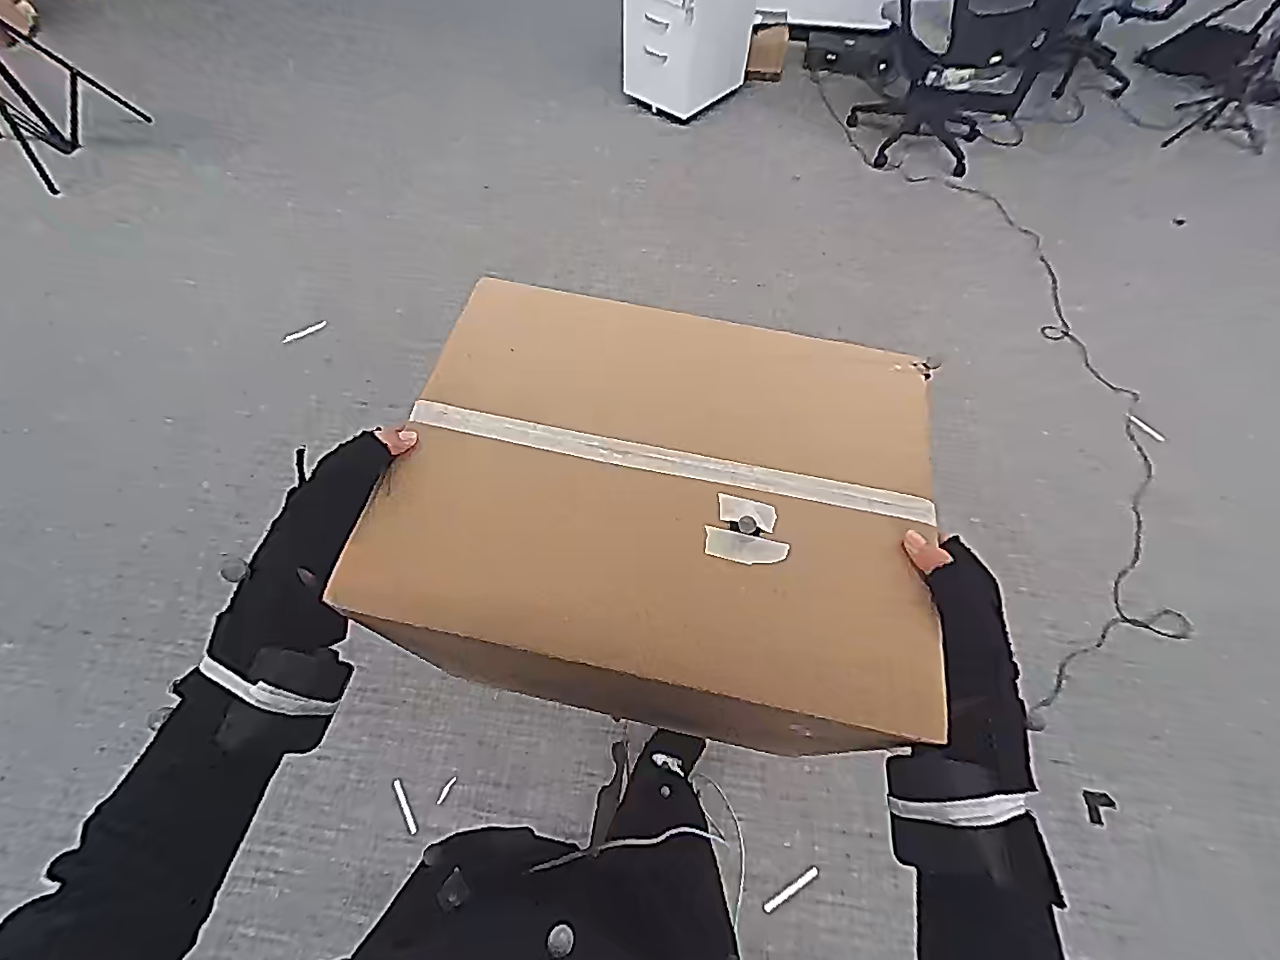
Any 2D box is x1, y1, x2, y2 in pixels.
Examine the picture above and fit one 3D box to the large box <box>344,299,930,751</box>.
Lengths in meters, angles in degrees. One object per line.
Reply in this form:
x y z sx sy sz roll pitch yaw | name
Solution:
0.011 0.067 0.555 0.408 0.320 0.320 12 63 3 | large box
